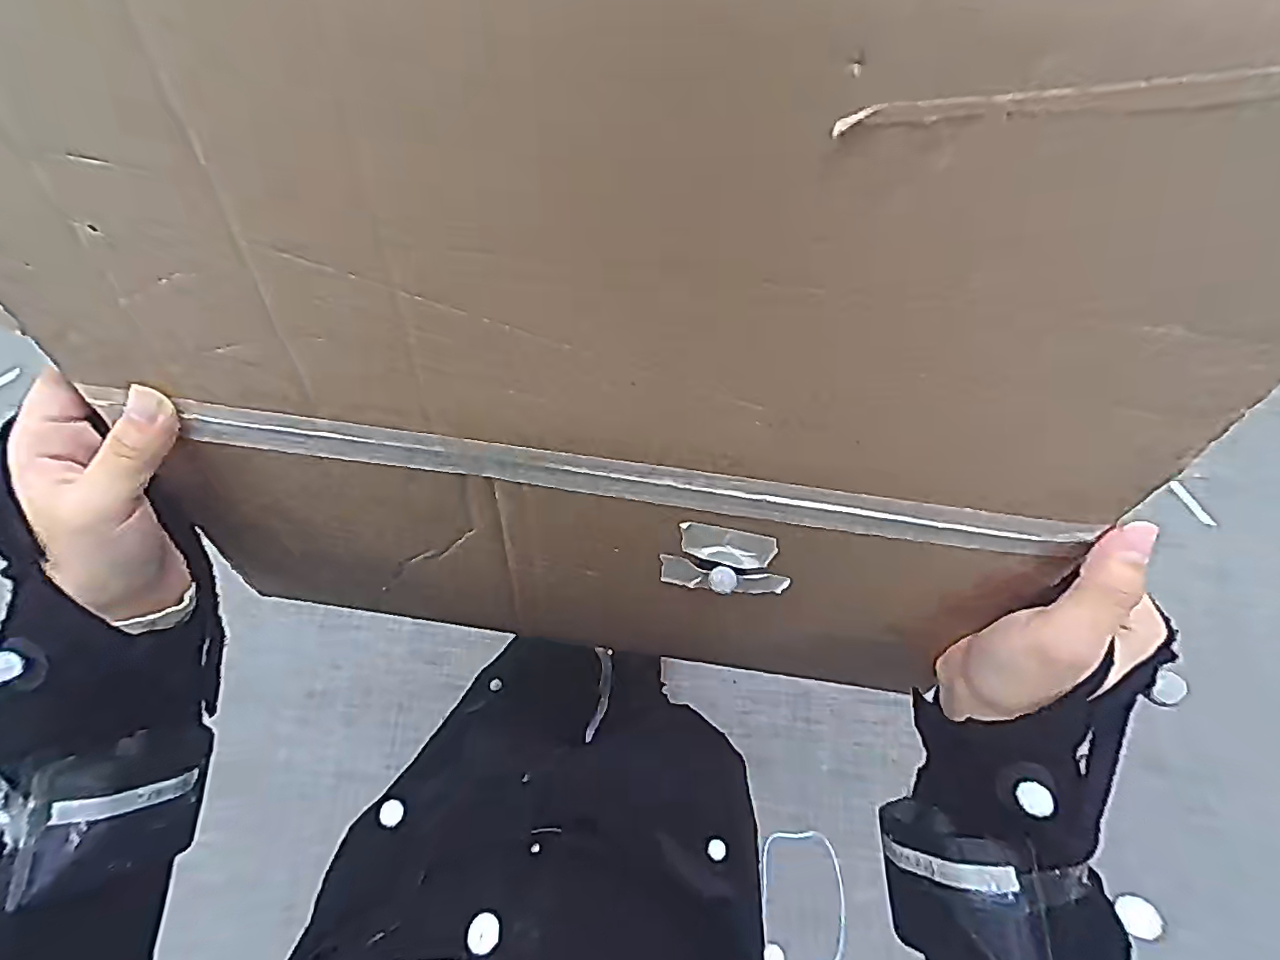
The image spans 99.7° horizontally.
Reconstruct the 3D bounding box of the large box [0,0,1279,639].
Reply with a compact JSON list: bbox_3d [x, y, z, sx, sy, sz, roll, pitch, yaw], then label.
[{"bbox_3d":[0.005,-0.141,0.316,0.408,0.320,0.320,7,48,2],"label":"large box"}]
